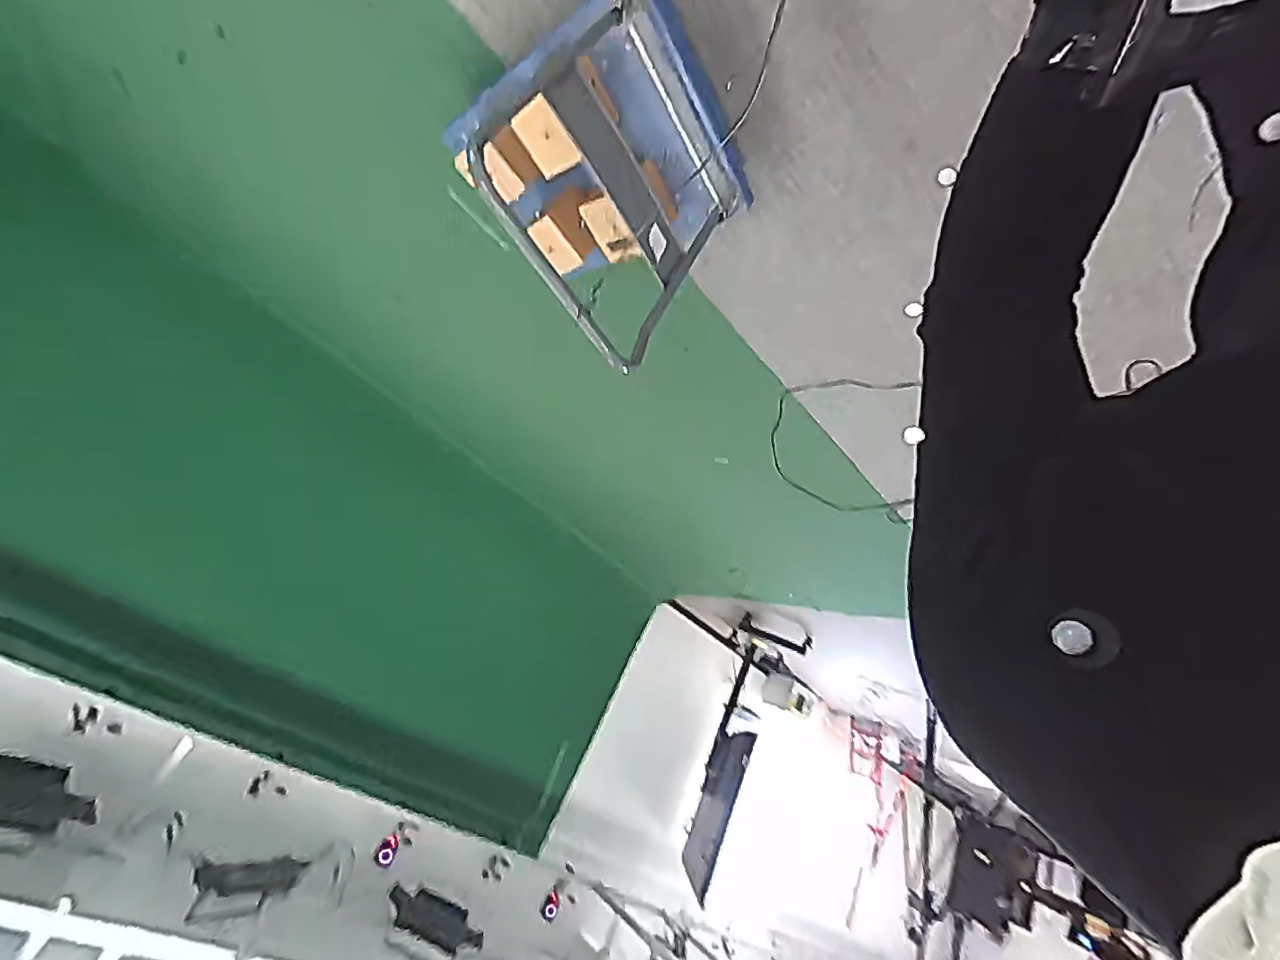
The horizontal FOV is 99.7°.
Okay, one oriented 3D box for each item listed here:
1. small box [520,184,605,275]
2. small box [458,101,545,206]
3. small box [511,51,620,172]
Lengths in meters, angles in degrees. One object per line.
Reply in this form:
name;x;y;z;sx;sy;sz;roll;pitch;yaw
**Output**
small box;-0.233;-0.782;1.687;0.179;0.176;0.168;0;142;46
small box;-0.379;-0.933;1.550;0.179;0.176;0.168;-1;143;46
small box;-0.182;-0.925;1.365;0.179;0.176;0.168;3;145;42
